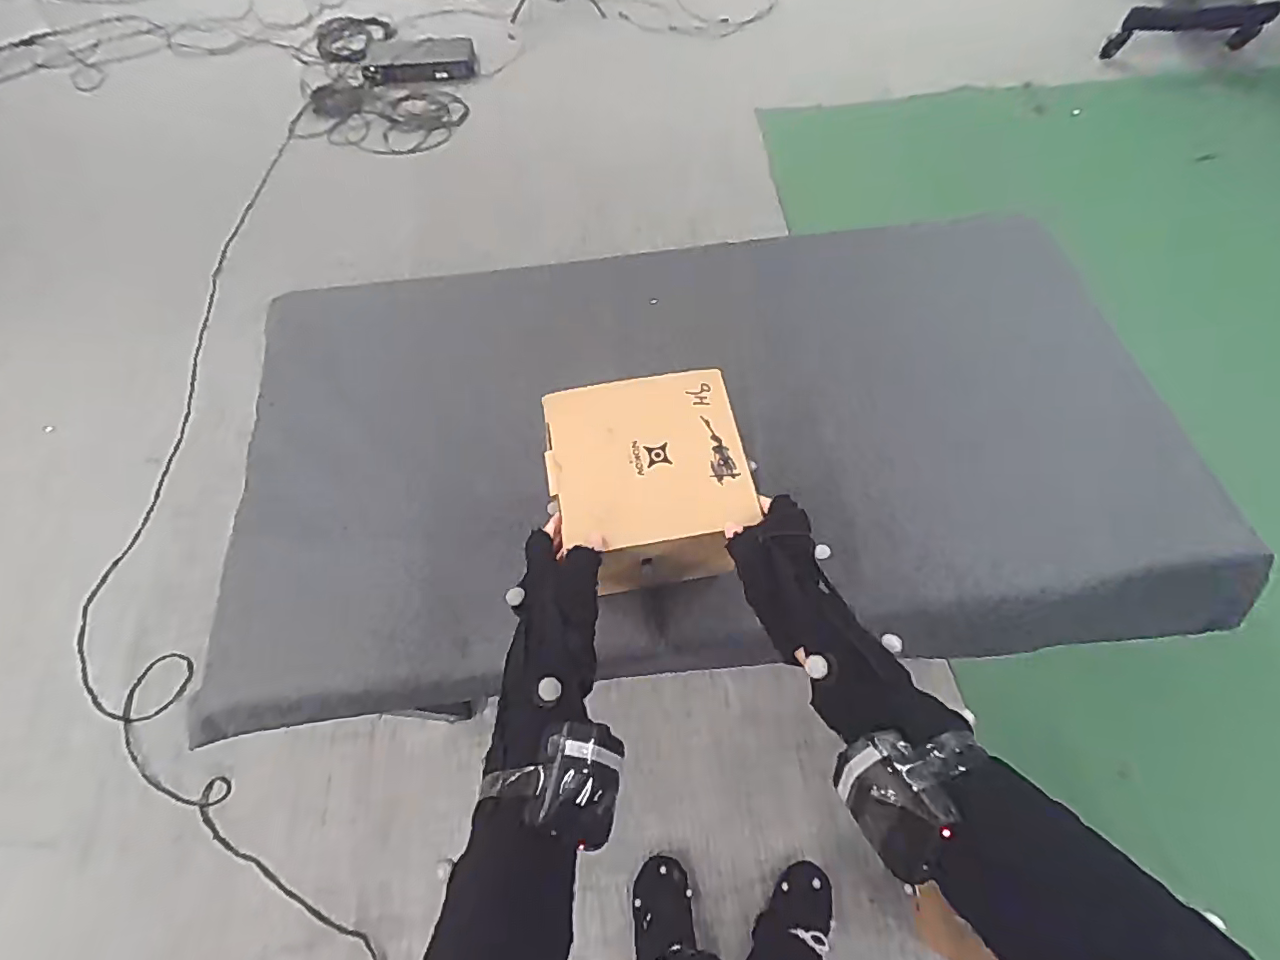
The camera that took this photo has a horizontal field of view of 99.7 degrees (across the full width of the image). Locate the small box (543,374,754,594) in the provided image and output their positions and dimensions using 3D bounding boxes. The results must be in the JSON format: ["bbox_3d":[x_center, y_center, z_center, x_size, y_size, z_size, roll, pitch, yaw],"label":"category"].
[{"bbox_3d":[0.004,0.013,0.567,0.179,0.176,0.168,-8,66,-4],"label":"small box"}]
